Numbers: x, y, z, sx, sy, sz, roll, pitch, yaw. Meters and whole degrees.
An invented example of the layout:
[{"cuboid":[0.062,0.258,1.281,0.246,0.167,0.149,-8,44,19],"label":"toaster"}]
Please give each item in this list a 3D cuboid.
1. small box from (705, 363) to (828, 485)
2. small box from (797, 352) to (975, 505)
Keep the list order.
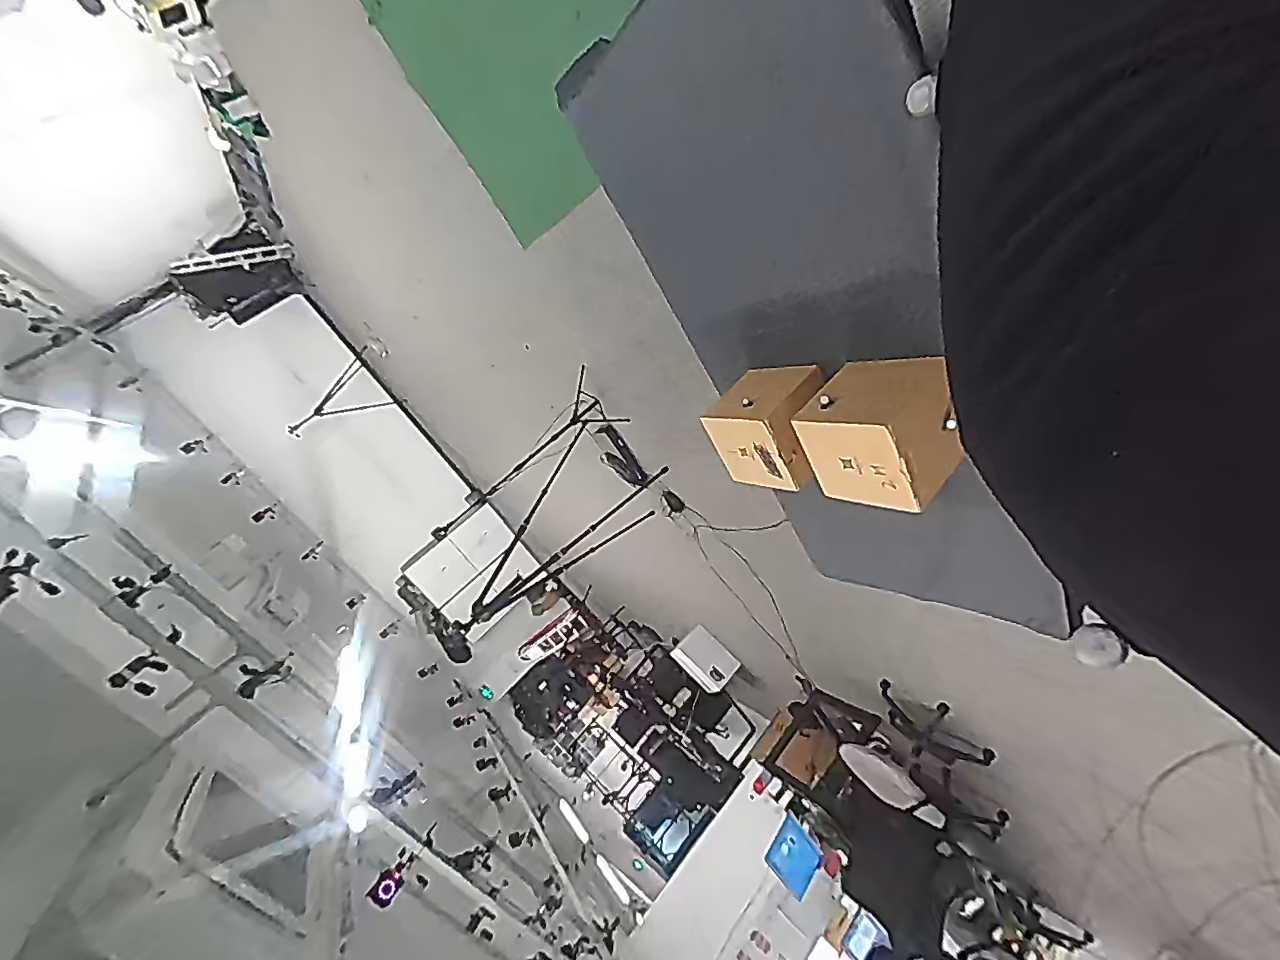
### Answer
[{"cuboid":[0.267,-0.114,1.052,0.179,0.176,0.168,12,141,56],"label":"small box"},{"cuboid":[0.392,-0.087,0.862,0.179,0.176,0.168,12,141,57],"label":"small box"}]
